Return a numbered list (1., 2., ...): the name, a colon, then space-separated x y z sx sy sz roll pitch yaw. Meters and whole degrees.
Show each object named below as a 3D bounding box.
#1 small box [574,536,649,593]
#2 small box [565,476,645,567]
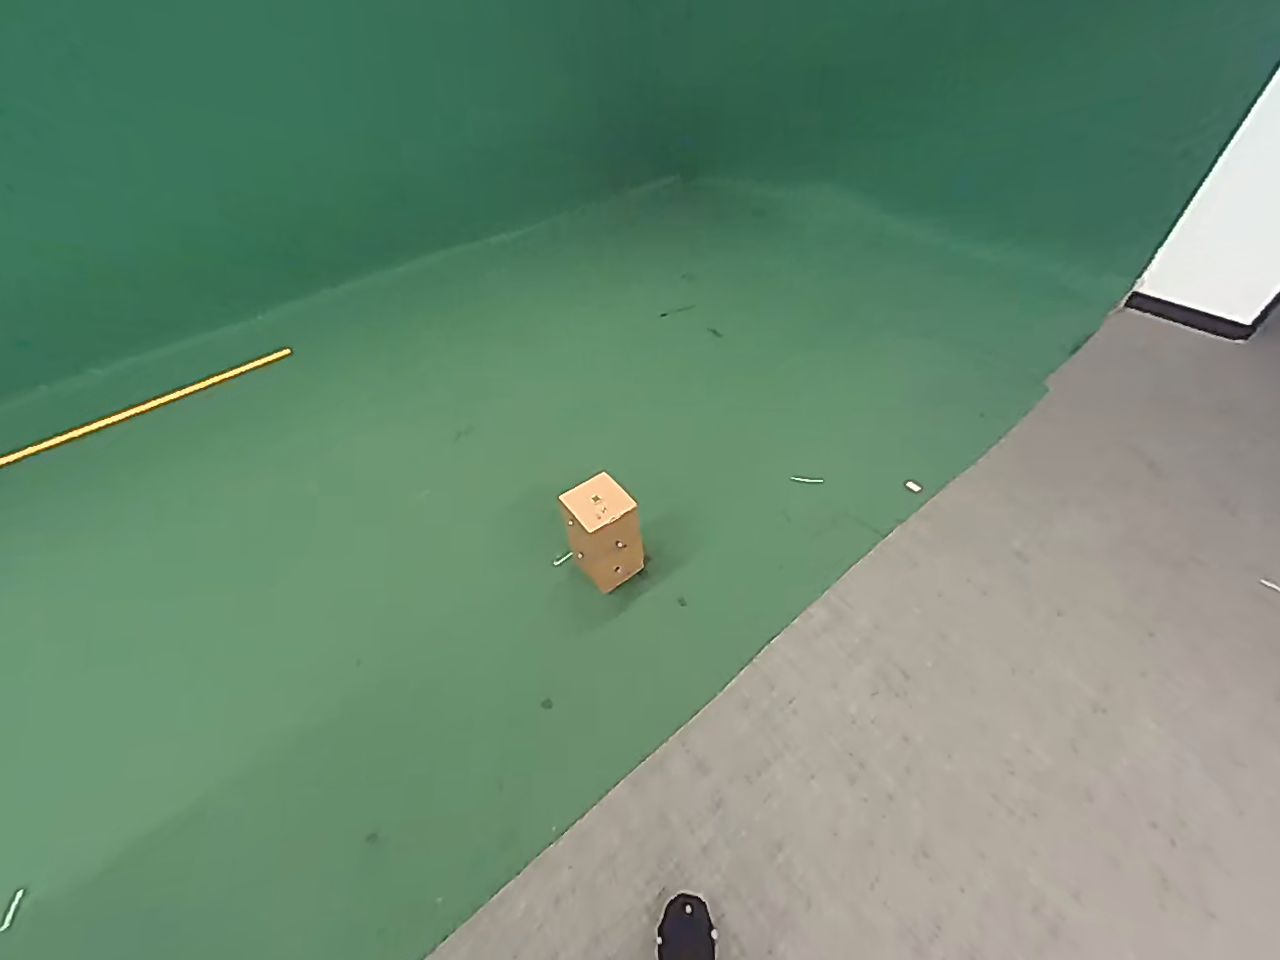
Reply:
1. small box: -0.085 0.238 1.738 0.168 0.176 0.179 -33 51 -22
2. small box: -0.101 0.126 1.617 0.168 0.176 0.179 -31 51 -20
